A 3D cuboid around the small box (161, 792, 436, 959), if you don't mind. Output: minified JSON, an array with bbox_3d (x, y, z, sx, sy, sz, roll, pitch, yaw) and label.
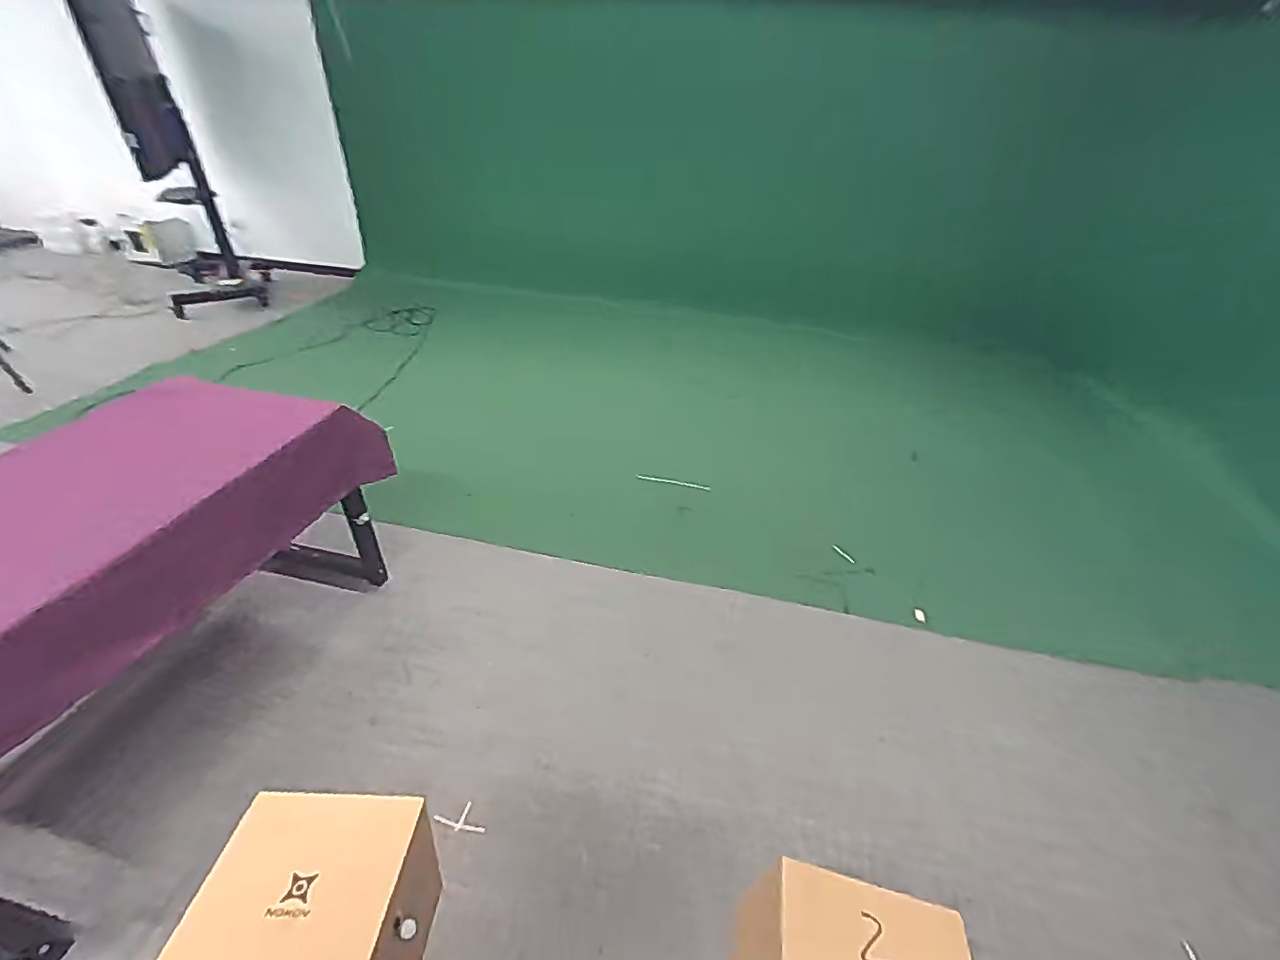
[{"bbox_3d":[-0.300,0.428,0.505,0.168,0.176,0.179,3,30,-3],"label":"small box"}]
